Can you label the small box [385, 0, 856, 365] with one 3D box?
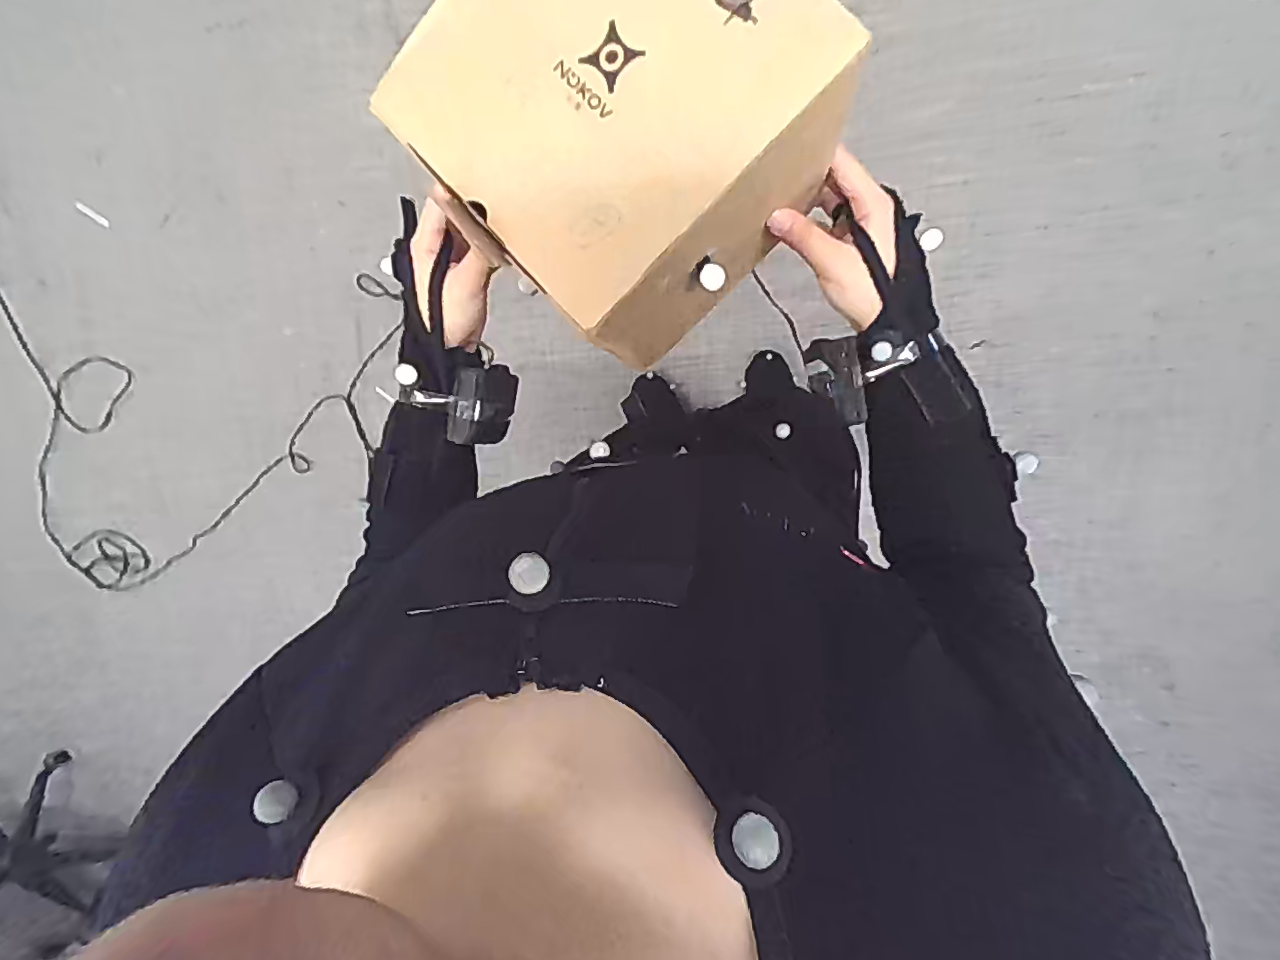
[{"bbox_3d":[-0.003,-0.191,0.334,0.179,0.176,0.168,-43,87,12],"label":"small box"}]
